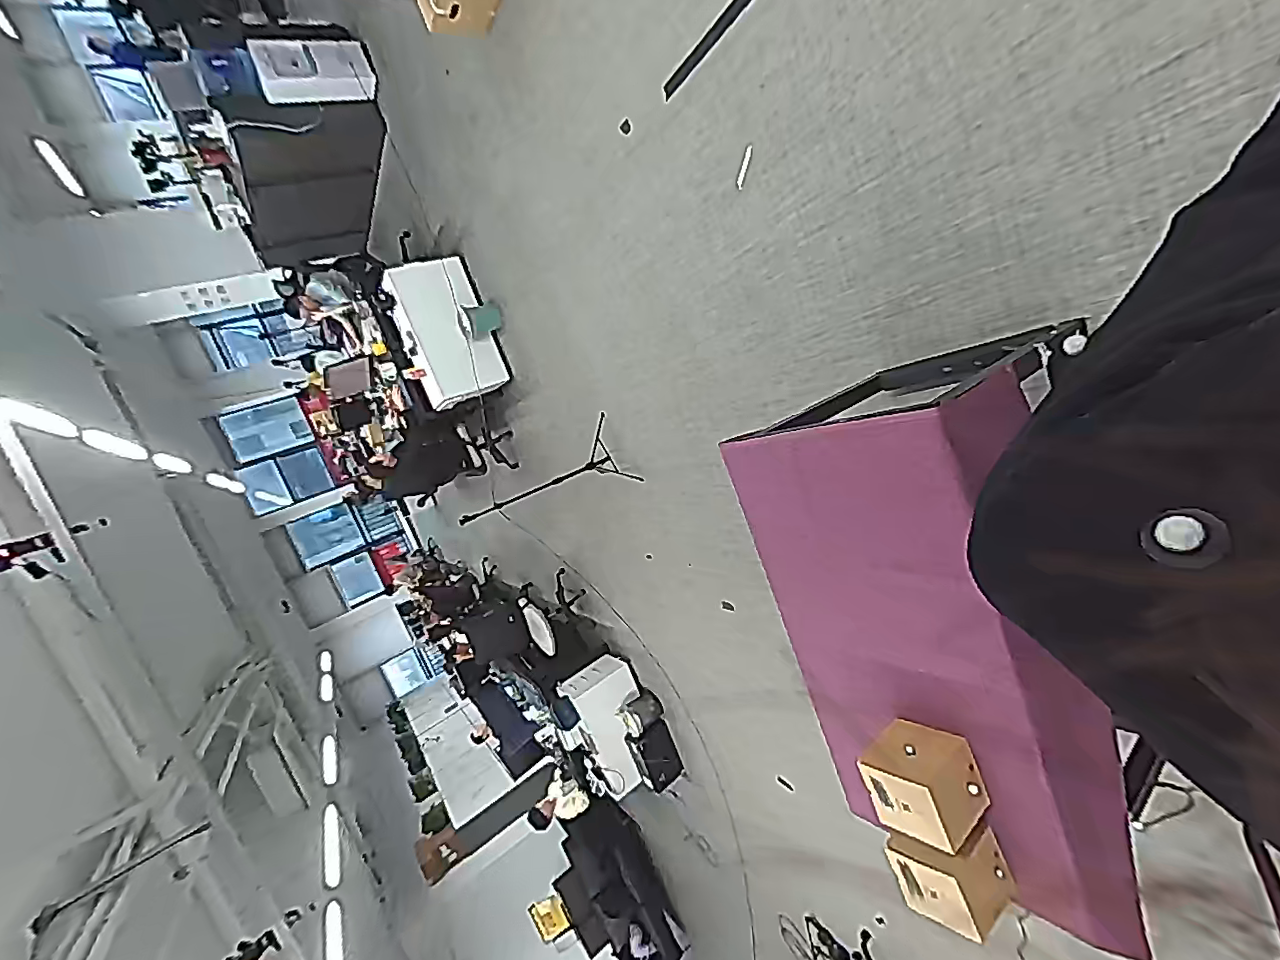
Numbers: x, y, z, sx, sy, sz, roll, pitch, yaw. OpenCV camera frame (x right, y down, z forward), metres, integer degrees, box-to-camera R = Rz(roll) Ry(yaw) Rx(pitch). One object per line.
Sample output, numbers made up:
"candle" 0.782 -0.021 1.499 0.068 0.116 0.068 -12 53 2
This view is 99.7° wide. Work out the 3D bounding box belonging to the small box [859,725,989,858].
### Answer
"small box" 0.637 0.684 1.216 0.179 0.176 0.168 -14 100 60
